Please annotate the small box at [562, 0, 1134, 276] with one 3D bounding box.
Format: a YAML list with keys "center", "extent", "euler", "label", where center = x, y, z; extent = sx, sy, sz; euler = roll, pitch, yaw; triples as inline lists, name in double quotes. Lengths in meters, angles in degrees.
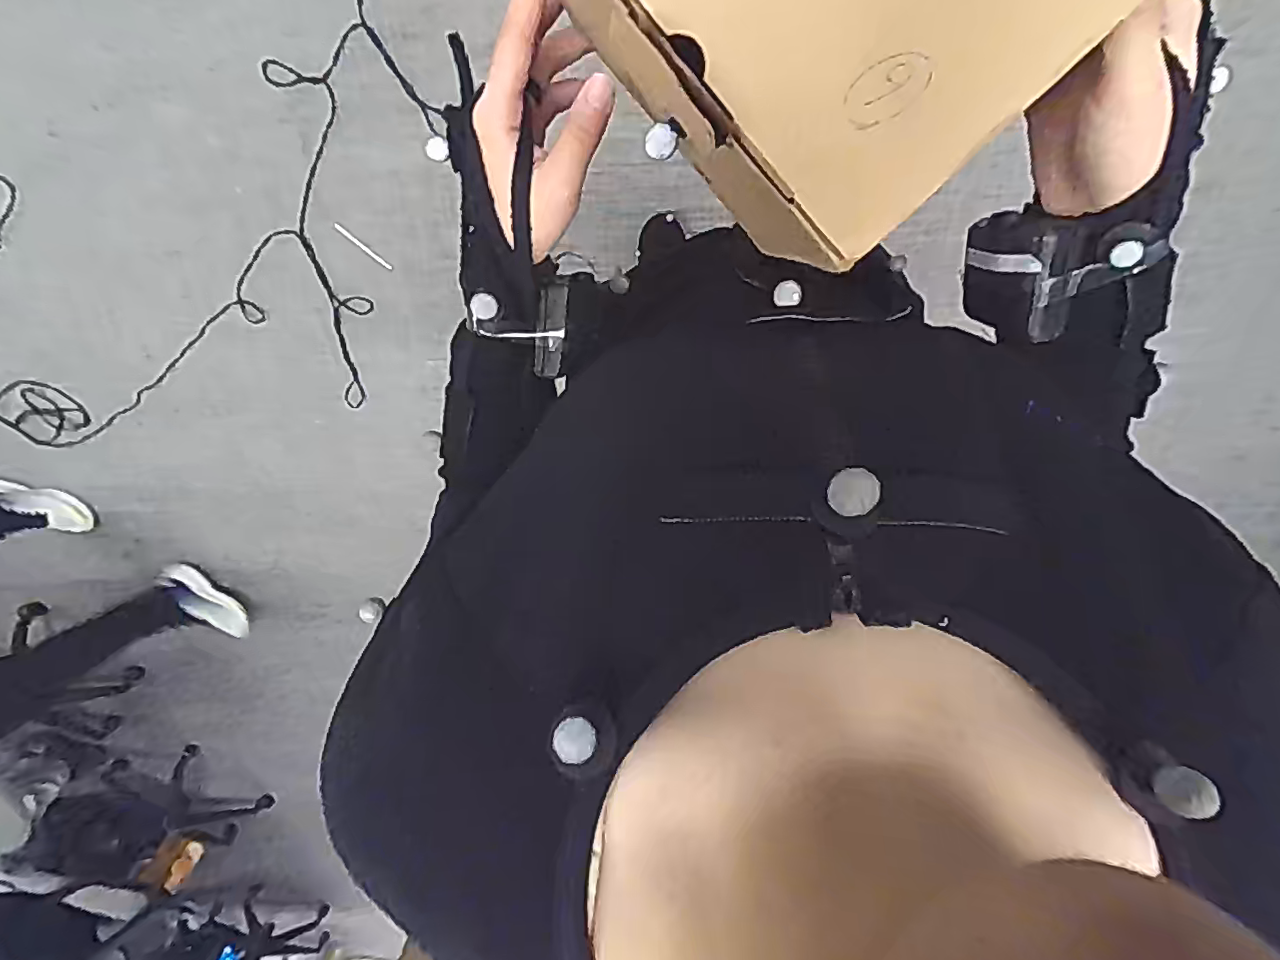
- center: [0.077, -0.213, 0.224]
  extent: [0.168, 0.176, 0.179]
  euler: [42, 110, -15]
  label: "small box"
